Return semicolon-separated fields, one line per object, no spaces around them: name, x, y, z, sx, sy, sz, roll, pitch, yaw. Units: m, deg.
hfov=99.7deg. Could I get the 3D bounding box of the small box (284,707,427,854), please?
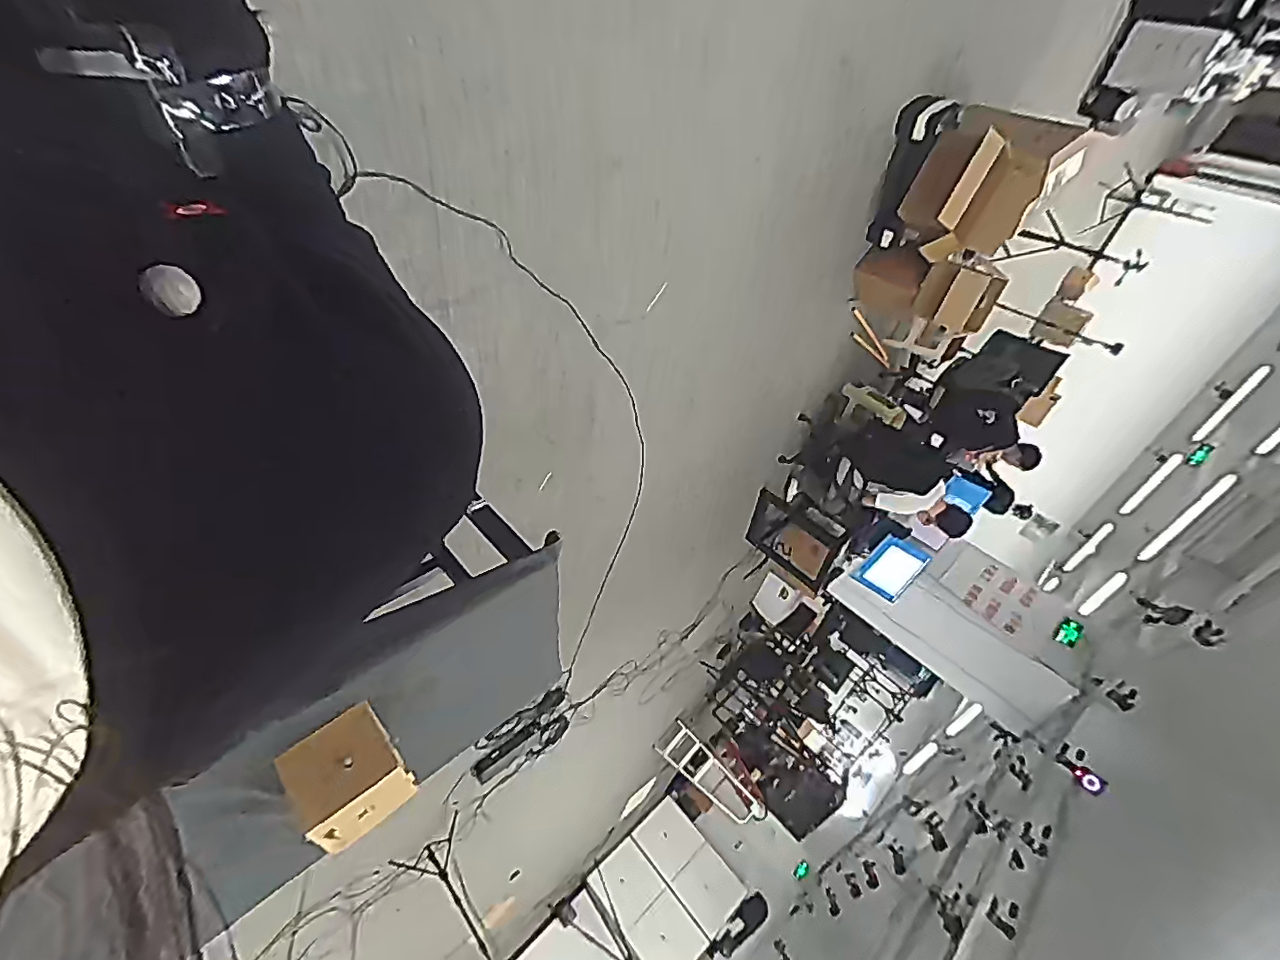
small box;-0.561;0.589;1.074;0.179;0.176;0.168;-33;147;-28
